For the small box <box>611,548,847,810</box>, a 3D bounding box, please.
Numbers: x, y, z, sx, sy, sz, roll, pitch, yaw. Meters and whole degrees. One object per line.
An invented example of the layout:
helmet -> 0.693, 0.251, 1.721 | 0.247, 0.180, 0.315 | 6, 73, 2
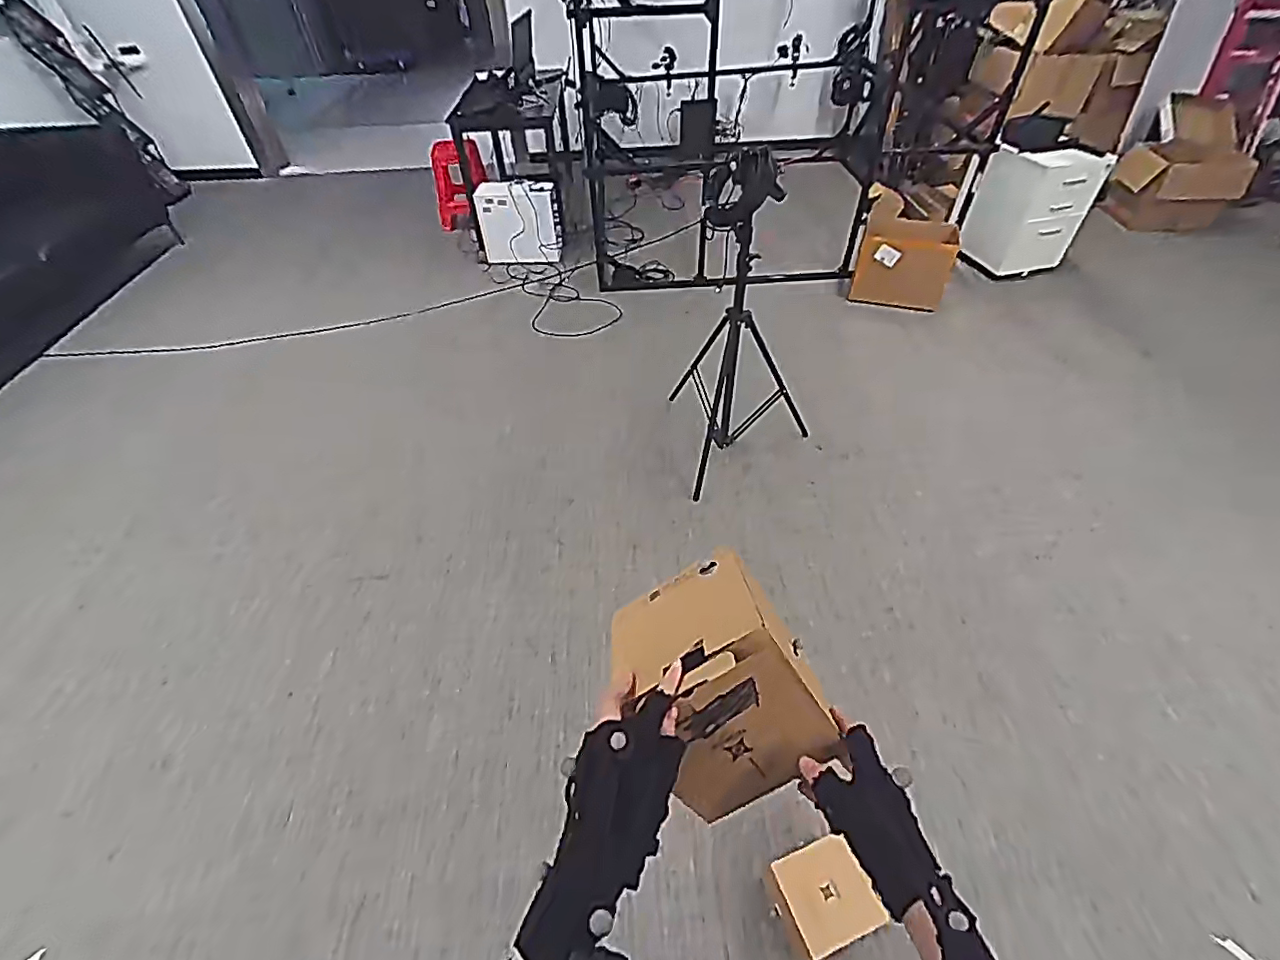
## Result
small box -> 0.082, 0.196, 0.580 | 0.168, 0.179, 0.176 | -33, 18, 9

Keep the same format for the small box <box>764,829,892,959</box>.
small box -> 0.380, 0.868, 1.129 | 0.179, 0.176, 0.168 | -18, 47, -13
